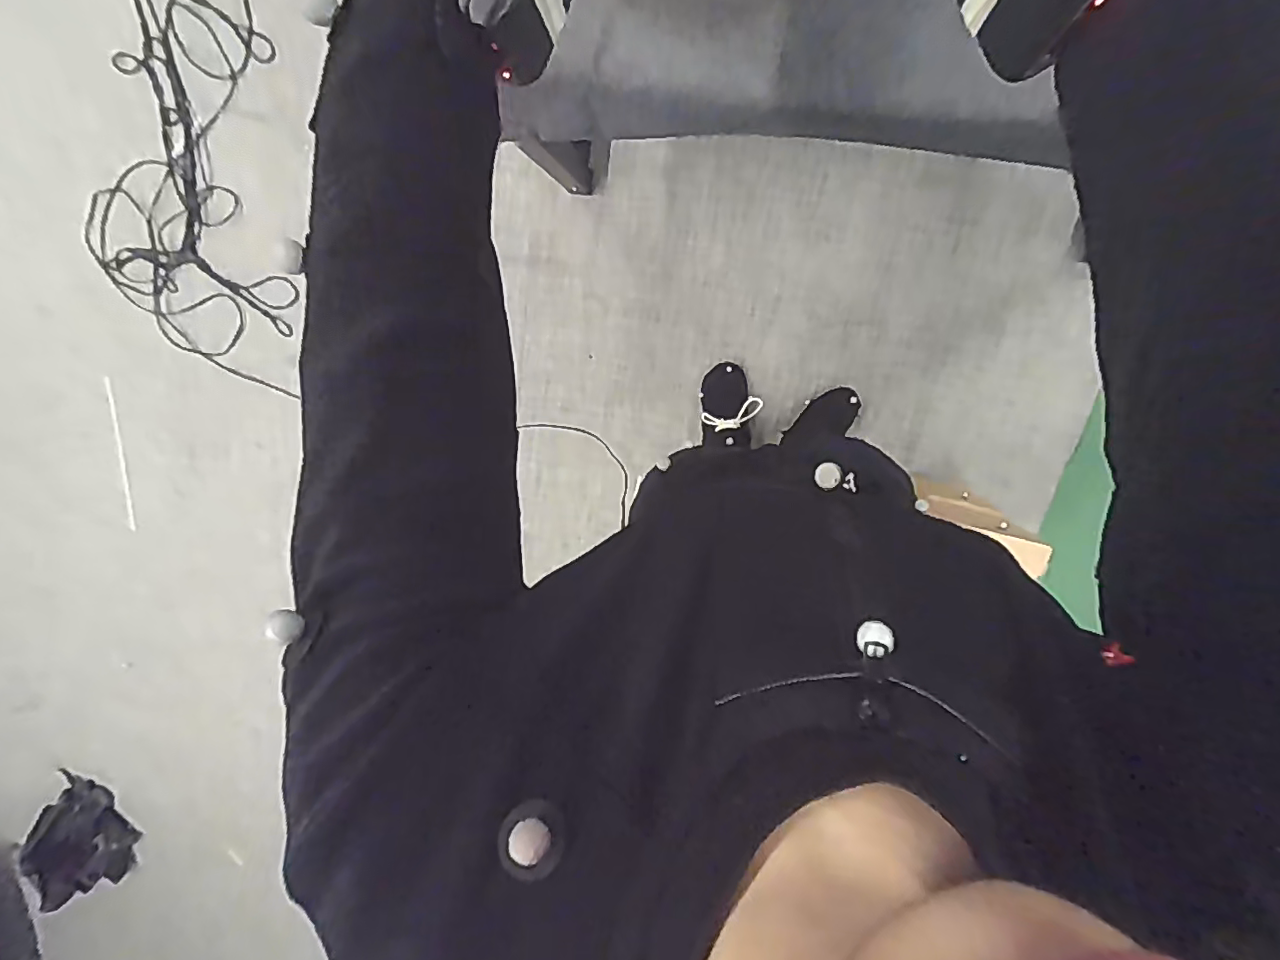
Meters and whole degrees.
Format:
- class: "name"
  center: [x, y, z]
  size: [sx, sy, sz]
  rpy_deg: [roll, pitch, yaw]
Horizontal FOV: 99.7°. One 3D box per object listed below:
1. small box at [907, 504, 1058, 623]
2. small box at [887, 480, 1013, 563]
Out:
- class: "small box"
  center: [0.683, 0.161, 1.102]
  size: [0.179, 0.176, 0.168]
  rpy_deg: [14, 106, 4]
- class: "small box"
  center: [0.707, 0.110, 1.257]
  size: [0.179, 0.176, 0.168]
  rpy_deg: [14, 106, 5]
